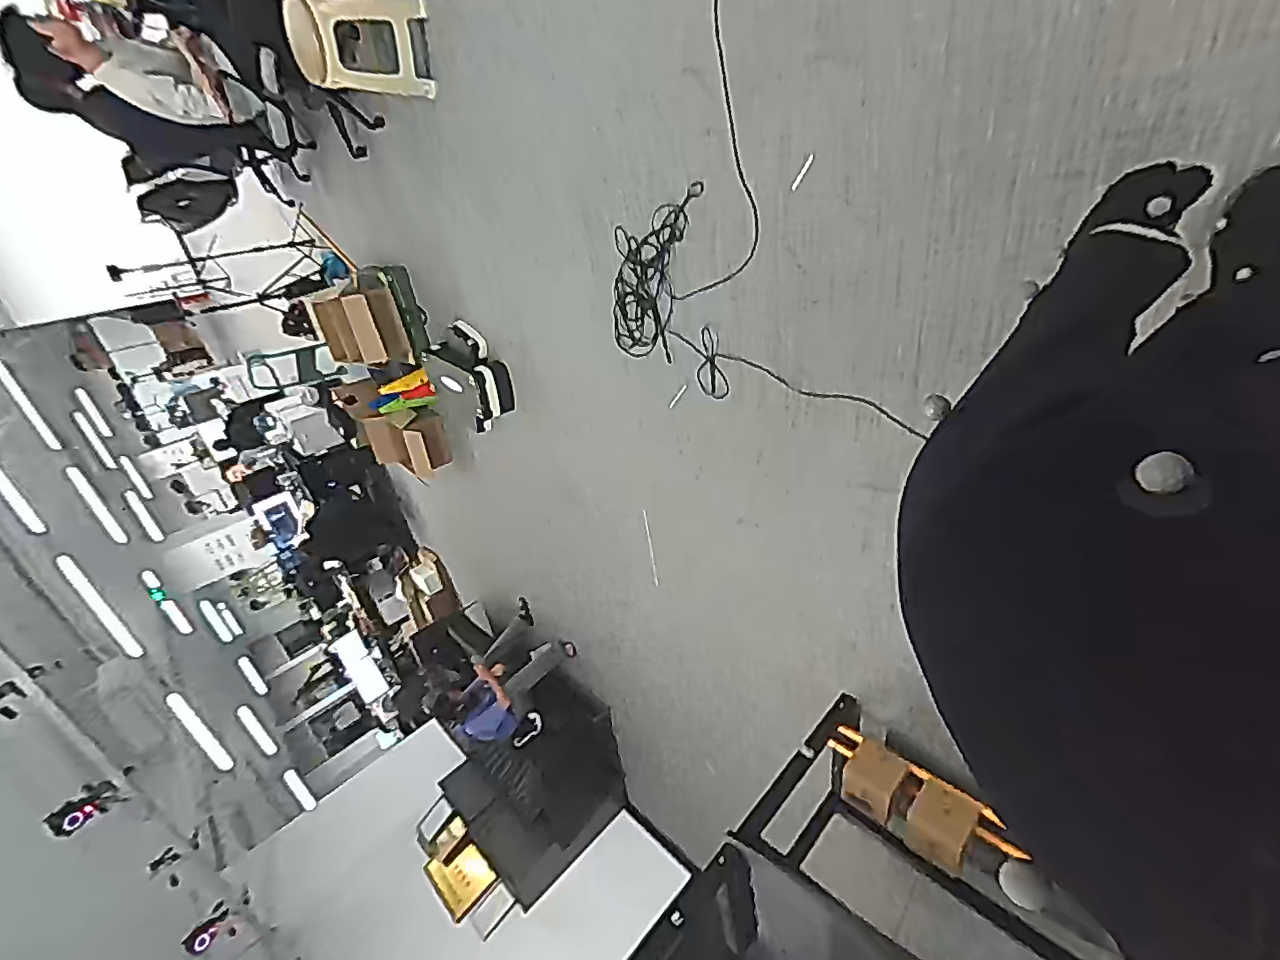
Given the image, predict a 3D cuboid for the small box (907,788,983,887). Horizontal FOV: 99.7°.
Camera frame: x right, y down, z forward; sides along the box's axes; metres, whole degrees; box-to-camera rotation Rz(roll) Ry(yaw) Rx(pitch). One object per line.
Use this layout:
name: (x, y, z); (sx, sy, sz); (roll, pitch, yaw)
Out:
small box: (1.005, 1.167, 1.778); (0.168, 0.176, 0.179); (19, 127, 44)
